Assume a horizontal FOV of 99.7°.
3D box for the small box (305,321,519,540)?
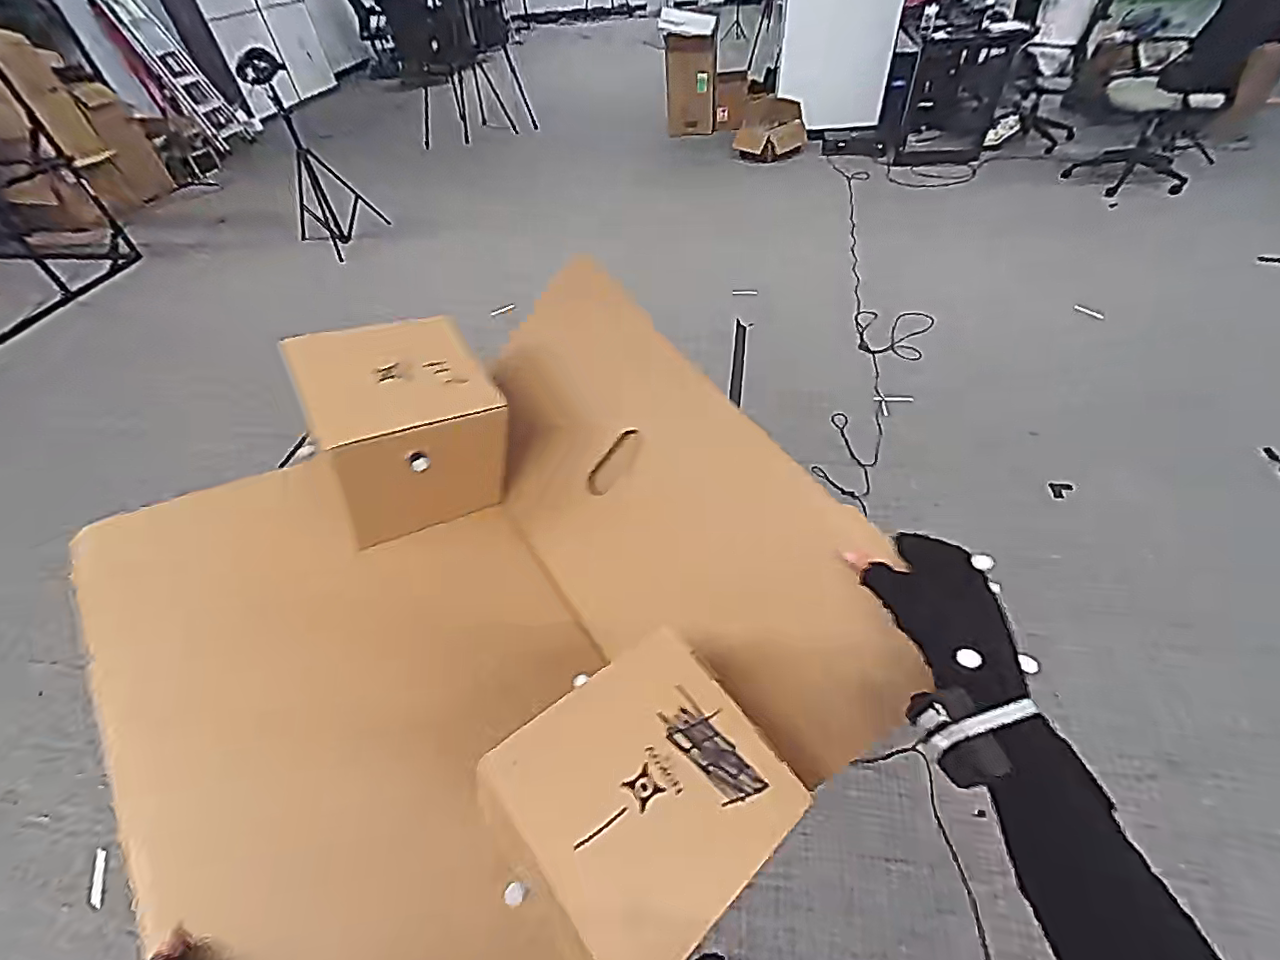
[{"bbox_3d":[-0.254,-0.056,0.624,0.179,0.176,0.168,-18,58,-30],"label":"small box"}]
